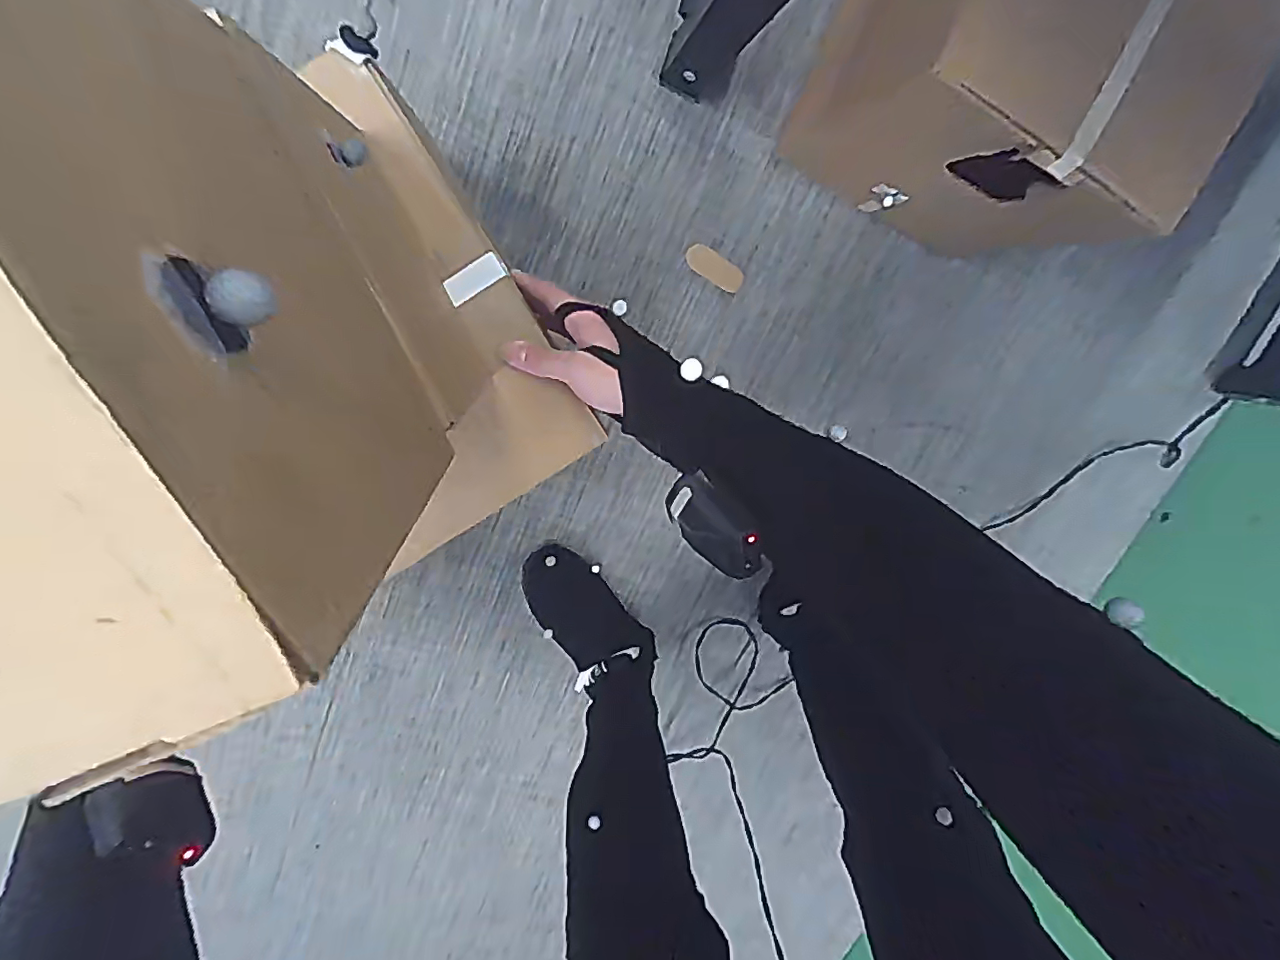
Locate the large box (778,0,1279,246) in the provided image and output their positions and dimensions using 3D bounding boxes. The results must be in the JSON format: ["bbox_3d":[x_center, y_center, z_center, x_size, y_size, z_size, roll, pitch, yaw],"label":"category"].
[{"bbox_3d":[0.408,-0.512,0.560,0.320,0.320,0.408,18,104,-18],"label":"large box"}]
